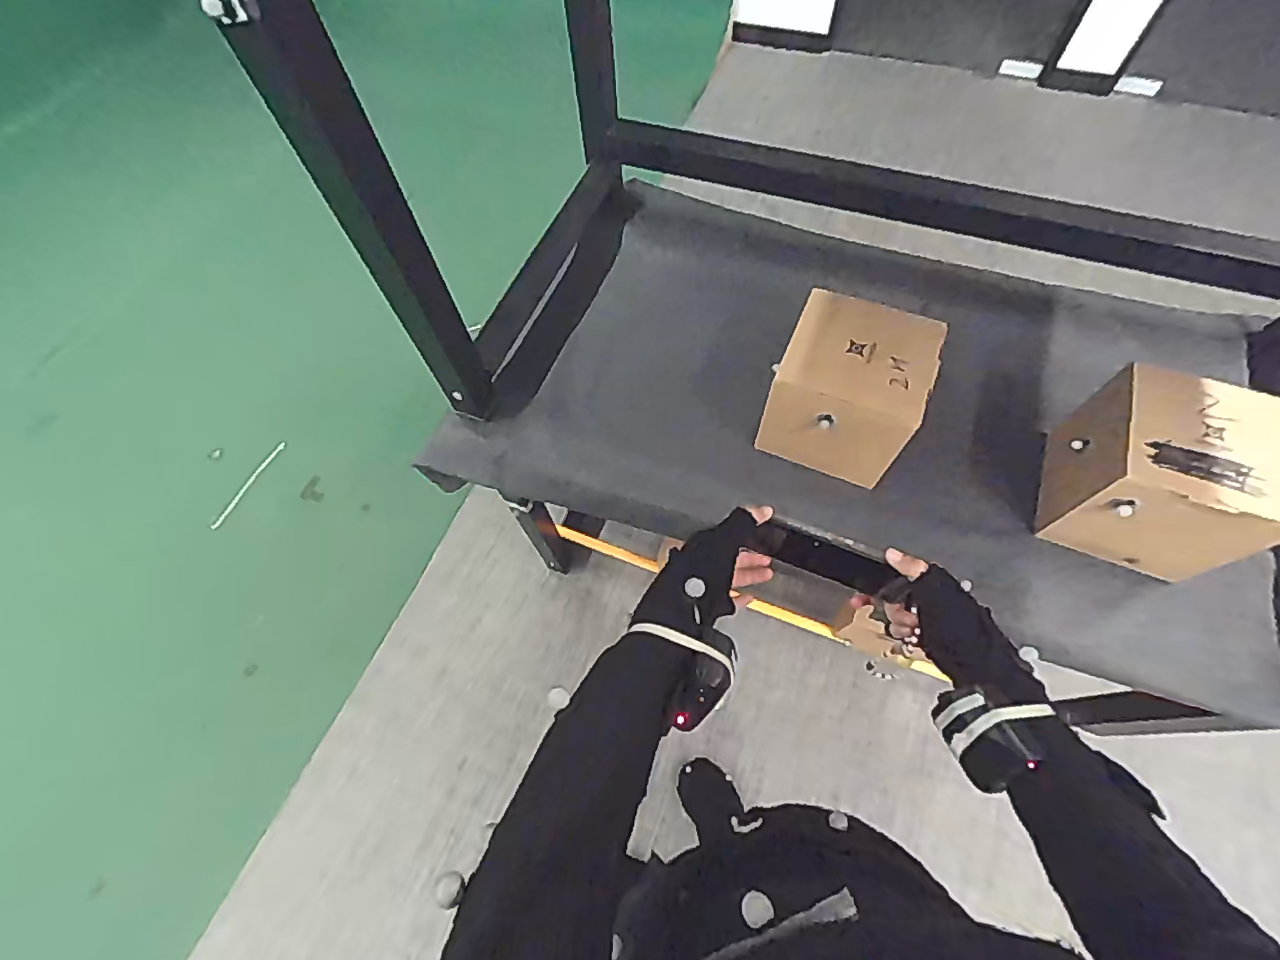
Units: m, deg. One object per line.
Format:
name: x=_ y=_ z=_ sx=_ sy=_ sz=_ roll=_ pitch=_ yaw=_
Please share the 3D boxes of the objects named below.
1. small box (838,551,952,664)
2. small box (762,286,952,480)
small box: x=0.556 y=0.289 z=1.201 sx=0.168 sy=0.176 sz=0.179 roll=22 pitch=67 yaw=13
small box: x=0.278 y=-0.123 z=0.726 sx=0.179 sy=0.176 sz=0.168 roll=21 pitch=66 yaw=14
